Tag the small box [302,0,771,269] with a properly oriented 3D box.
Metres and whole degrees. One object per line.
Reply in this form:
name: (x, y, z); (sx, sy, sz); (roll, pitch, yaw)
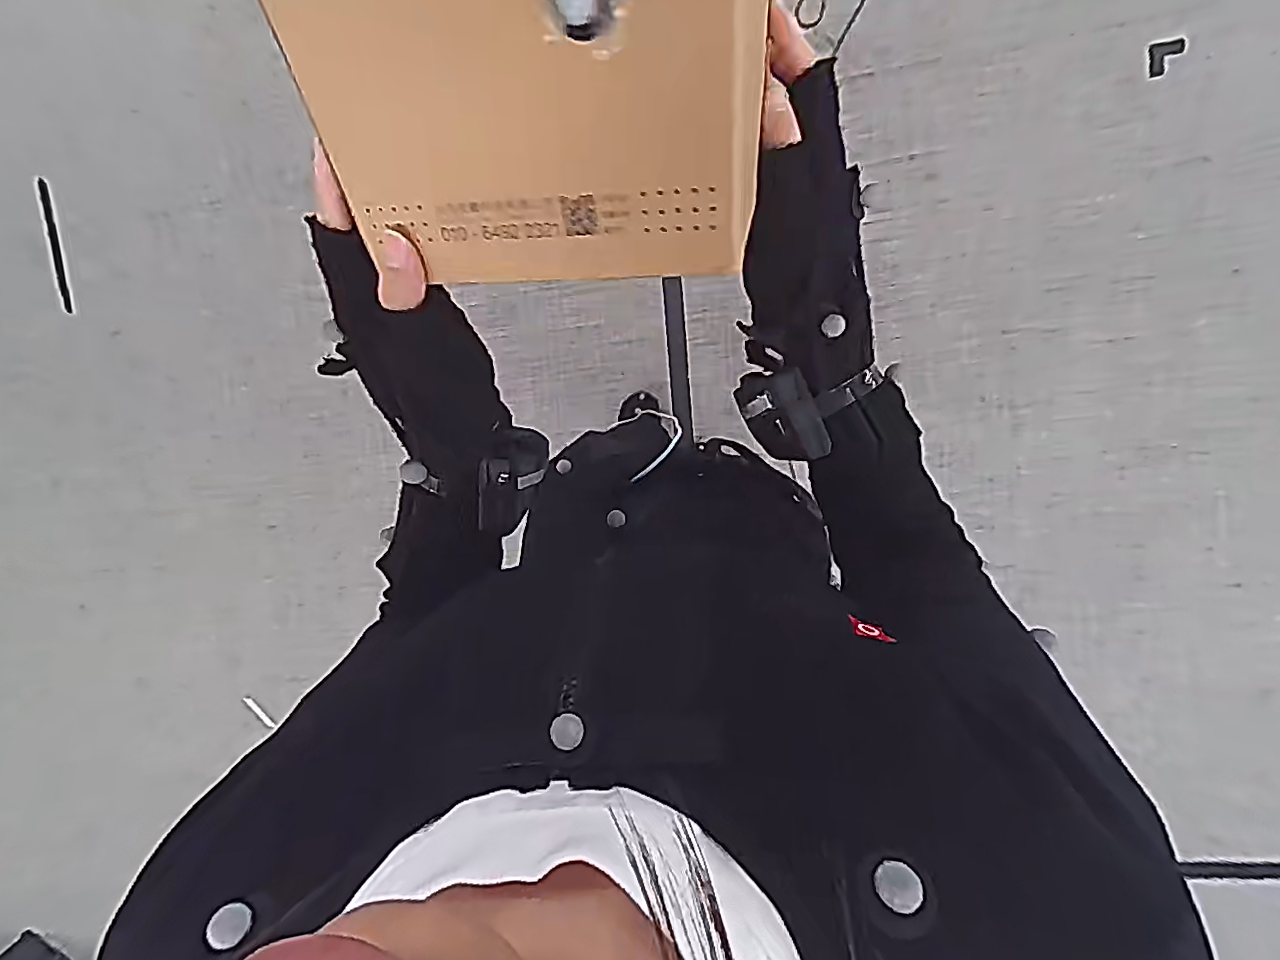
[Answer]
small box: (-0.029, -0.212, 0.258); (0.168, 0.179, 0.176); (5, 133, 16)
